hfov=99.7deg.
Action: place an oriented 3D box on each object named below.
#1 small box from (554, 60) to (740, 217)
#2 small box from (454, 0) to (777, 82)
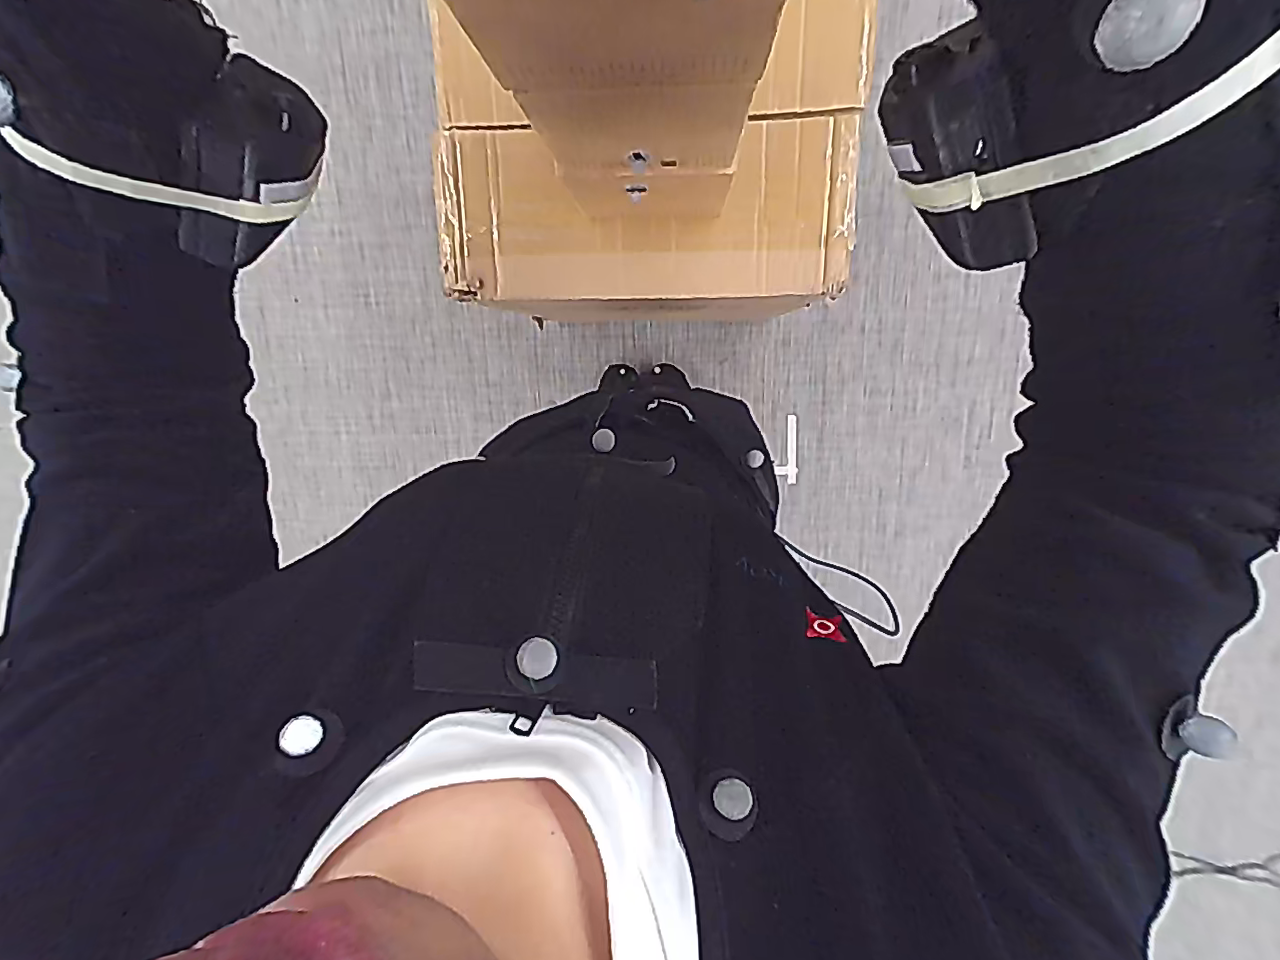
[{"bbox_3d":[0.011,-0.390,0.579,0.179,0.176,0.168,1,103,4],"label":"small box"},{"bbox_3d":[-0.011,-0.322,0.258,0.179,0.176,0.168,1,103,4],"label":"small box"}]
